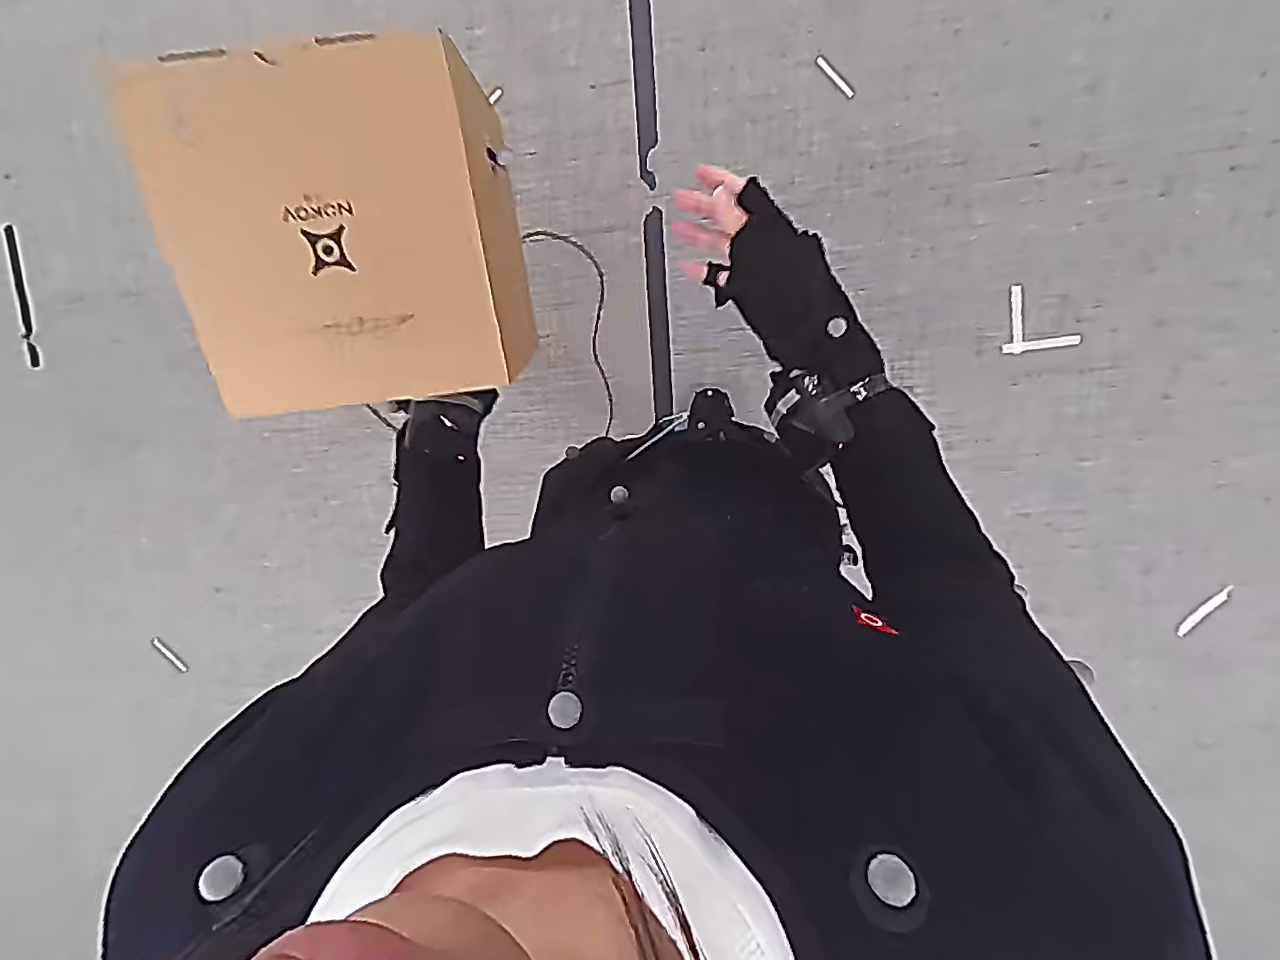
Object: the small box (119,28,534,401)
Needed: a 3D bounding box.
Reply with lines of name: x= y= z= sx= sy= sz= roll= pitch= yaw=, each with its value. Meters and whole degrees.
small box: x=-0.174 y=-0.164 z=0.371 sx=0.168 sy=0.176 sz=0.179 roll=-7 pitch=111 yaw=-2
